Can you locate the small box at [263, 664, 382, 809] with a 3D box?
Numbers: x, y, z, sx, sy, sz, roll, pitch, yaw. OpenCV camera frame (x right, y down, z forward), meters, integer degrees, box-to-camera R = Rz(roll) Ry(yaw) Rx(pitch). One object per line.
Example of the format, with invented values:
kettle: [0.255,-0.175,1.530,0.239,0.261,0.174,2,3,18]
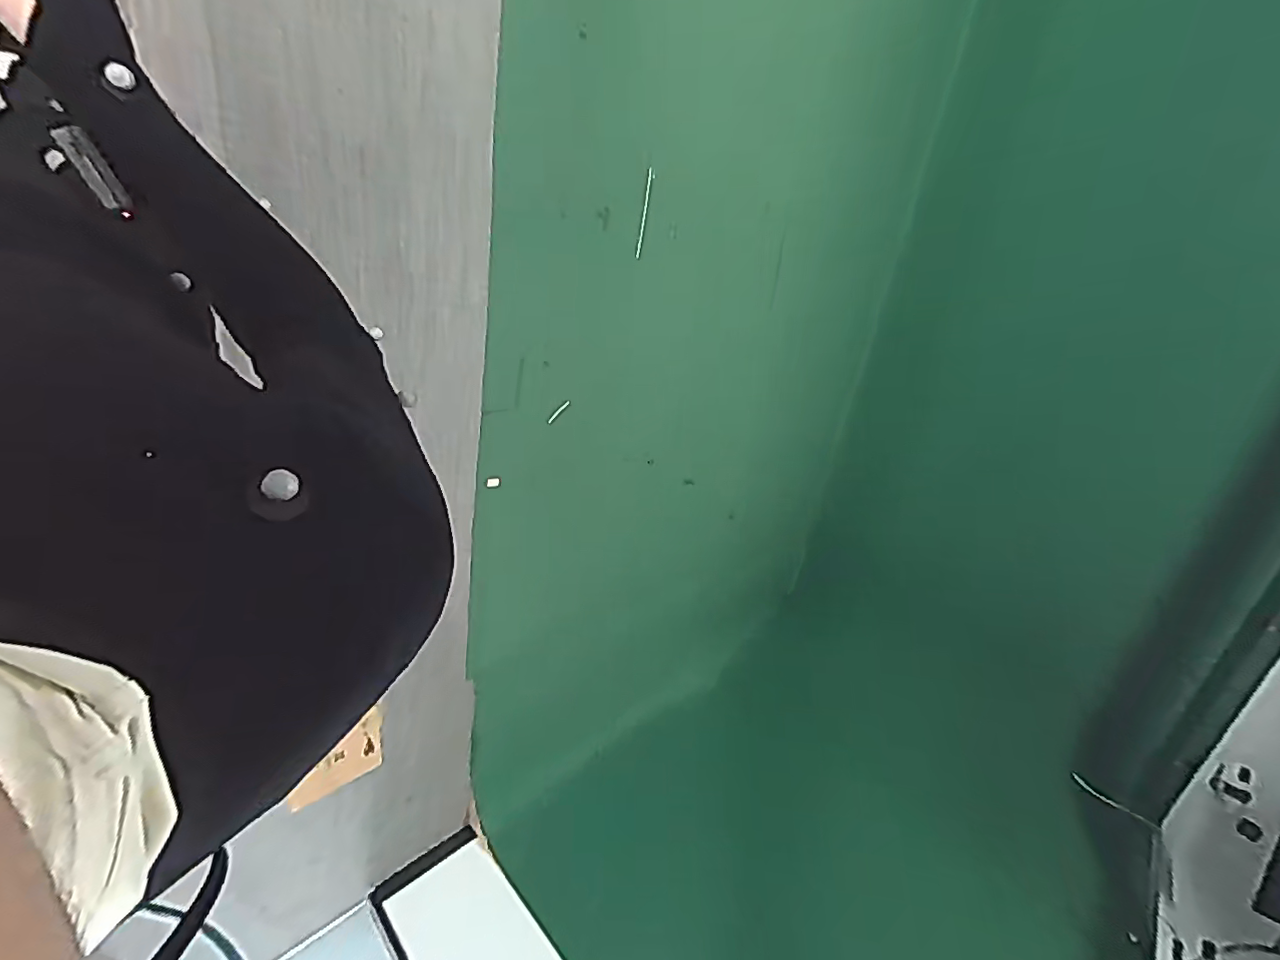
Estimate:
small box: [-0.655,0.516,1.113,0.179,0.176,0.168,-14,121,-43]
